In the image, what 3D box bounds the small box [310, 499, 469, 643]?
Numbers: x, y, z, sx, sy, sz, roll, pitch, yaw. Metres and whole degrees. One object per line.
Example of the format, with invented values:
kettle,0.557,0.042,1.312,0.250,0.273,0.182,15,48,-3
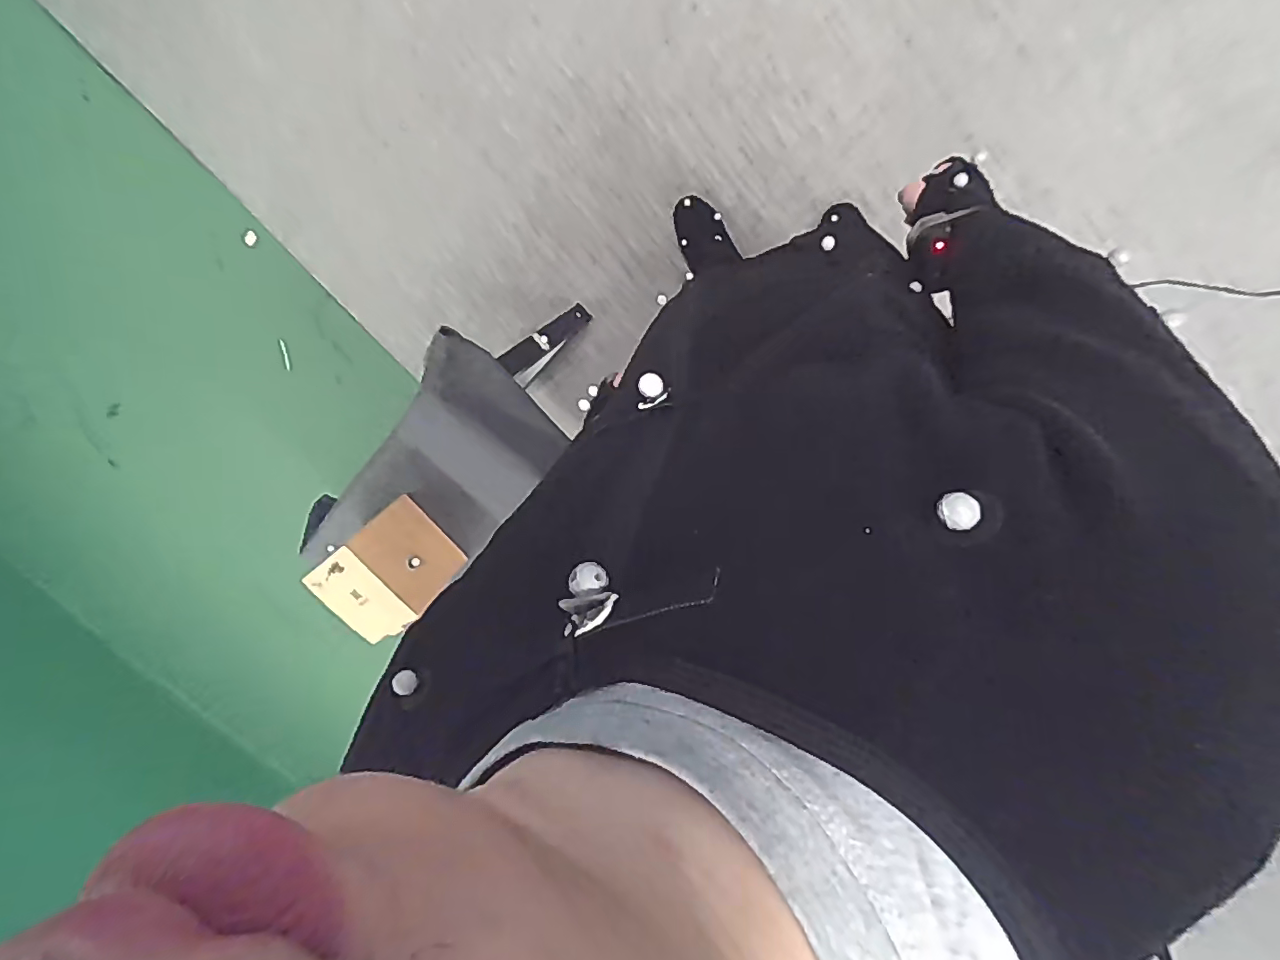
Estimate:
small box,-0.462,0.169,1.021,0.168,0.176,0.179,-31,107,29
